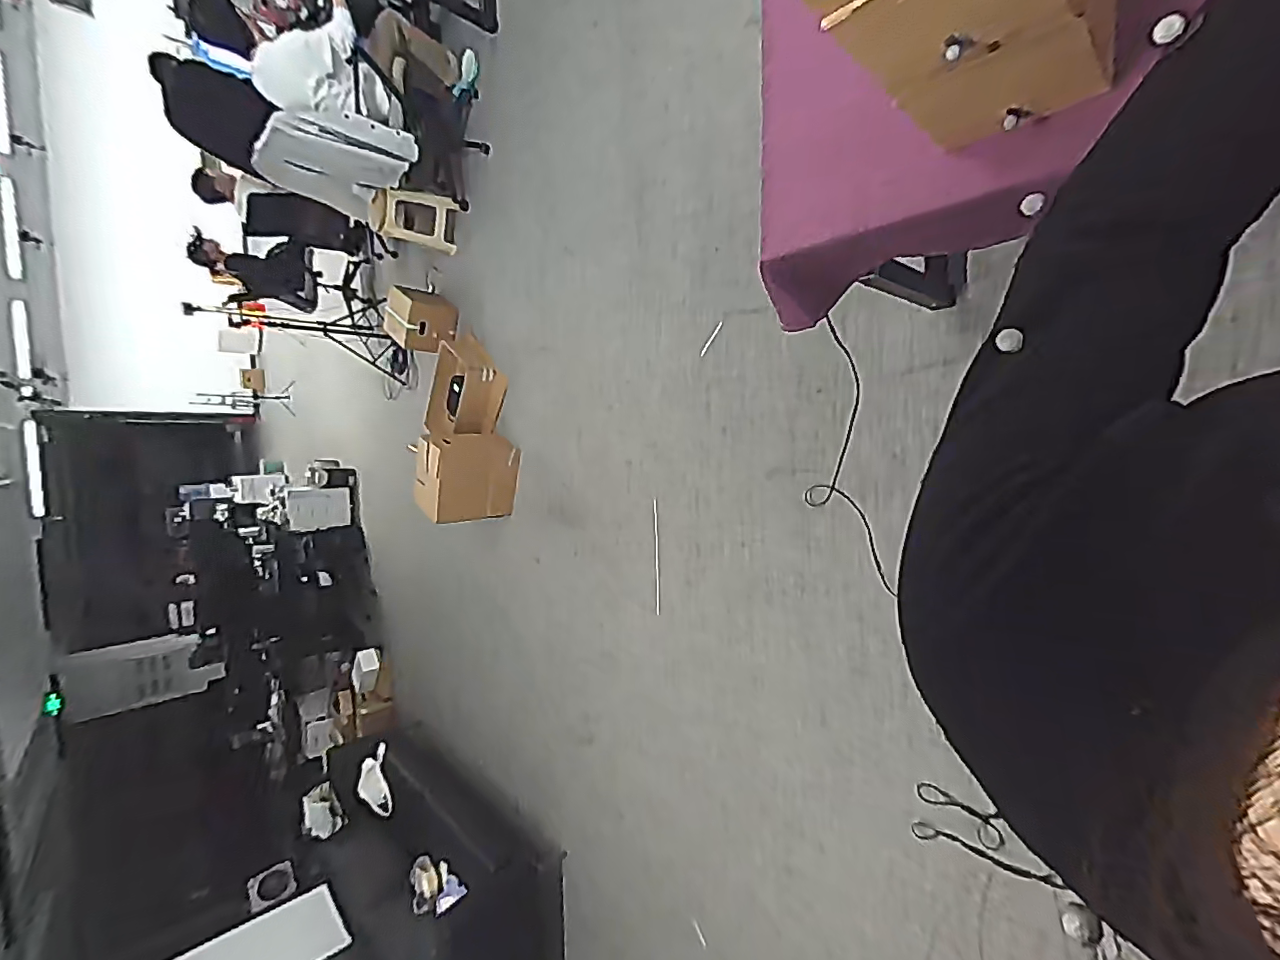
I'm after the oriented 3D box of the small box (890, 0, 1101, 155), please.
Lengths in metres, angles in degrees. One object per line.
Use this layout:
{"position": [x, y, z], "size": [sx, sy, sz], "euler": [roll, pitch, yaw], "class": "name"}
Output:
{"position": [0.408, -0.513, 0.618], "size": [0.179, 0.176, 0.168], "euler": [2, 94, 47], "class": "small box"}
